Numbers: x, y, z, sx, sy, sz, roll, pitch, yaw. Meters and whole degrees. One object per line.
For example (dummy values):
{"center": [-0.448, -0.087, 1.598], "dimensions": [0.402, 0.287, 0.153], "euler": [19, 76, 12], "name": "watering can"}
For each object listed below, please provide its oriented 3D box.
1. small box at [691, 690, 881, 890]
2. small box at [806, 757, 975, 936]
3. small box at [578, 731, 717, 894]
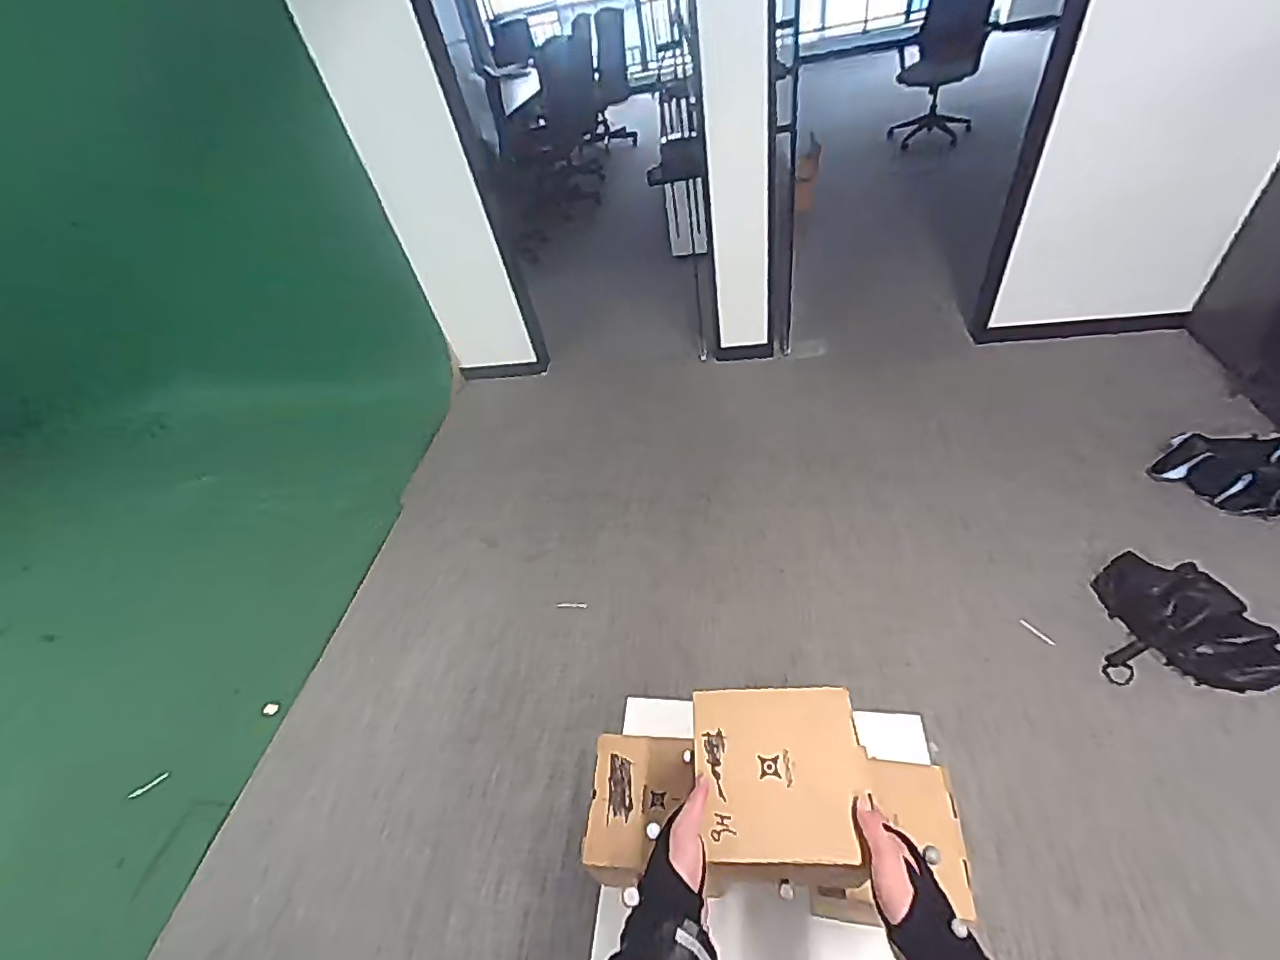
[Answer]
{"center": [0.149, 0.352, 0.614], "dimensions": [0.179, 0.176, 0.168], "euler": [-3, 47, 8], "name": "small box"}
{"center": [0.315, 0.490, 0.729], "dimensions": [0.179, 0.176, 0.168], "euler": [-1, 45, 14], "name": "small box"}
{"center": [0.024, 0.488, 0.793], "dimensions": [0.179, 0.176, 0.168], "euler": [-1, 46, 9], "name": "small box"}
